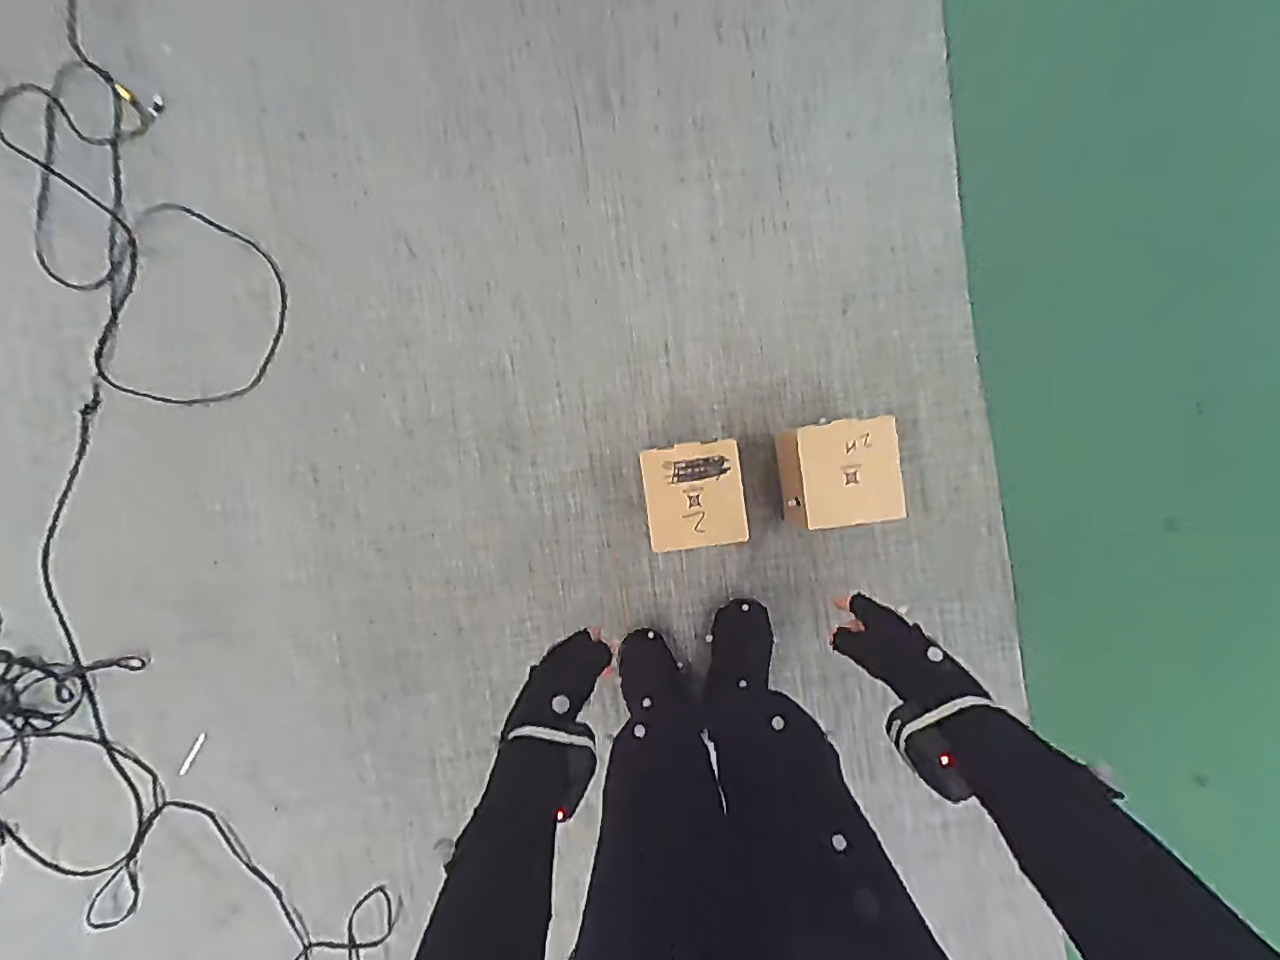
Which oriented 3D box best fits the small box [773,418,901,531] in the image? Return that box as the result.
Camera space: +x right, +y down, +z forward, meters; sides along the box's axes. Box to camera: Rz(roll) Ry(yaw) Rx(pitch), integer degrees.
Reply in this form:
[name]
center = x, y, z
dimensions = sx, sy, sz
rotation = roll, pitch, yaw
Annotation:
[small box]
center = 0.347, -0.011, 0.979
dimensions = 0.168, 0.176, 0.179
rotation = -7, 90, 1
